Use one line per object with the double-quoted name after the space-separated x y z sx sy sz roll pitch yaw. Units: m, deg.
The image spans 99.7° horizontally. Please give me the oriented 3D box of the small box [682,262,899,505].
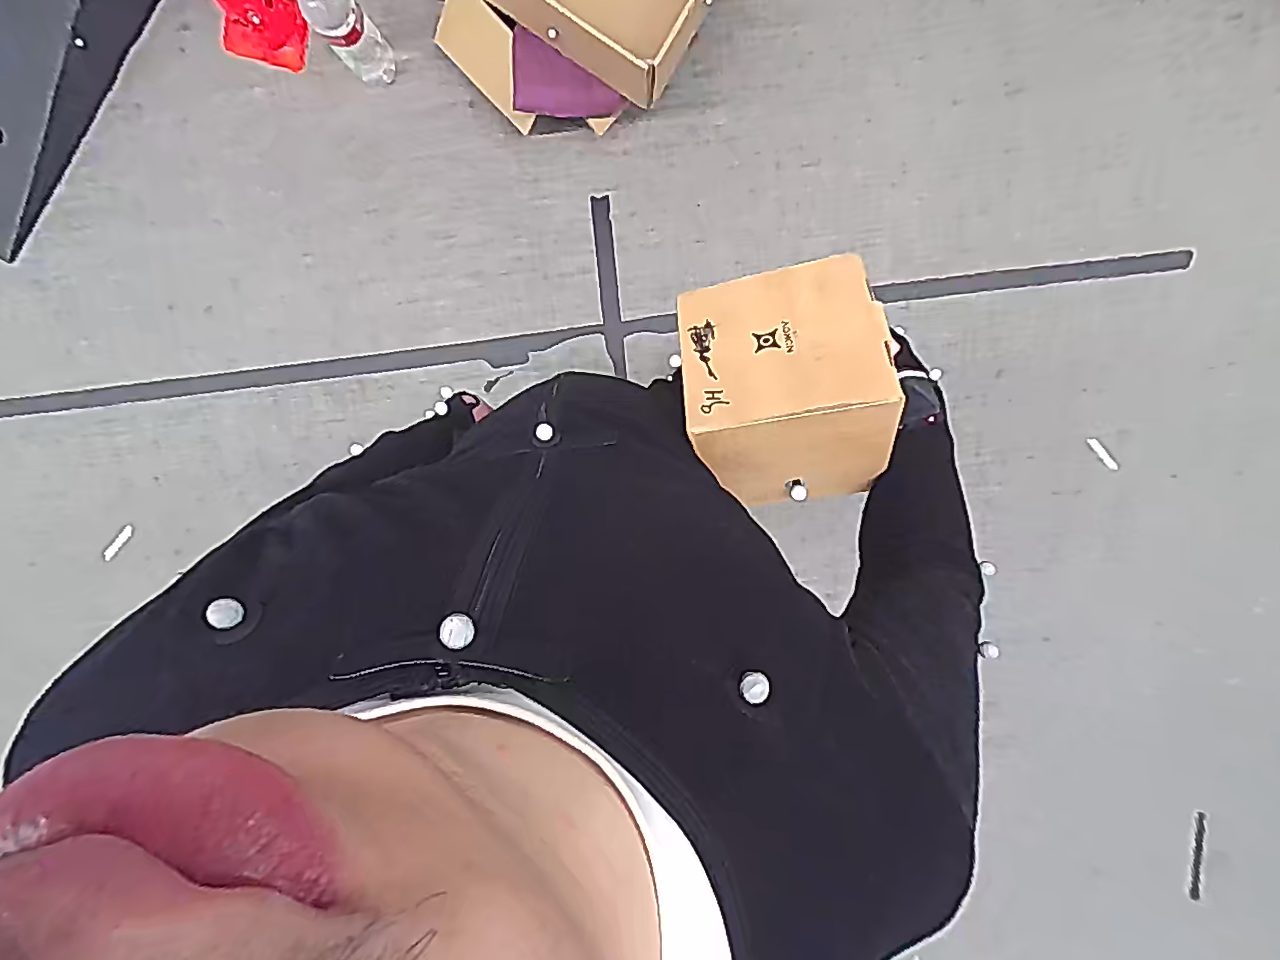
0.147 -0.088 0.564 0.179 0.176 0.168 -9 60 13 "small box"
